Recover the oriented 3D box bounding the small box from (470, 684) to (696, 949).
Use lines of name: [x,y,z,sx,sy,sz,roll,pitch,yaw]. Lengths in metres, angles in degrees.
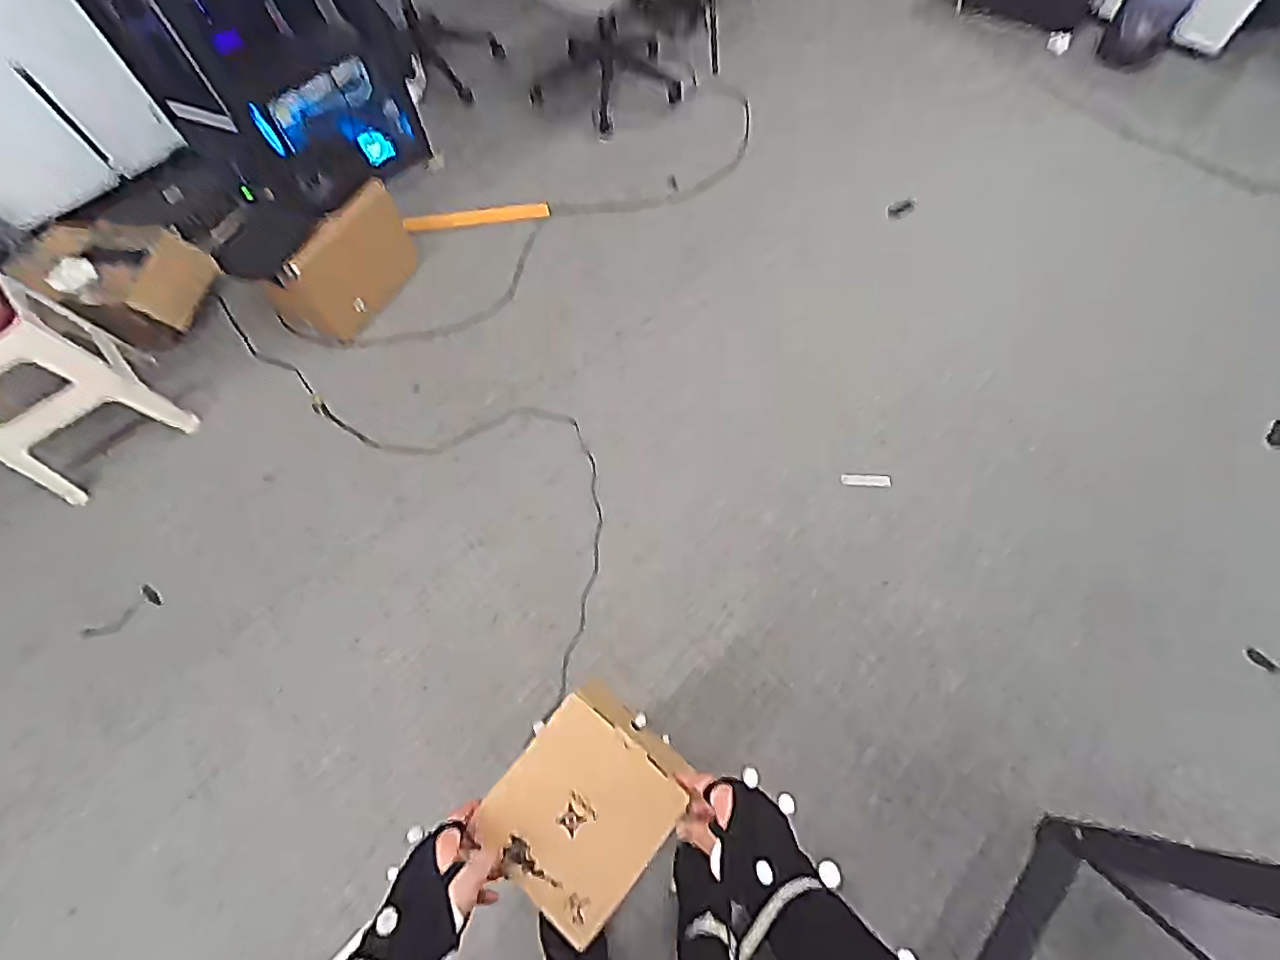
small box: [-0.058,0.360,0.626,0.168,0.176,0.179,38,78,11]
